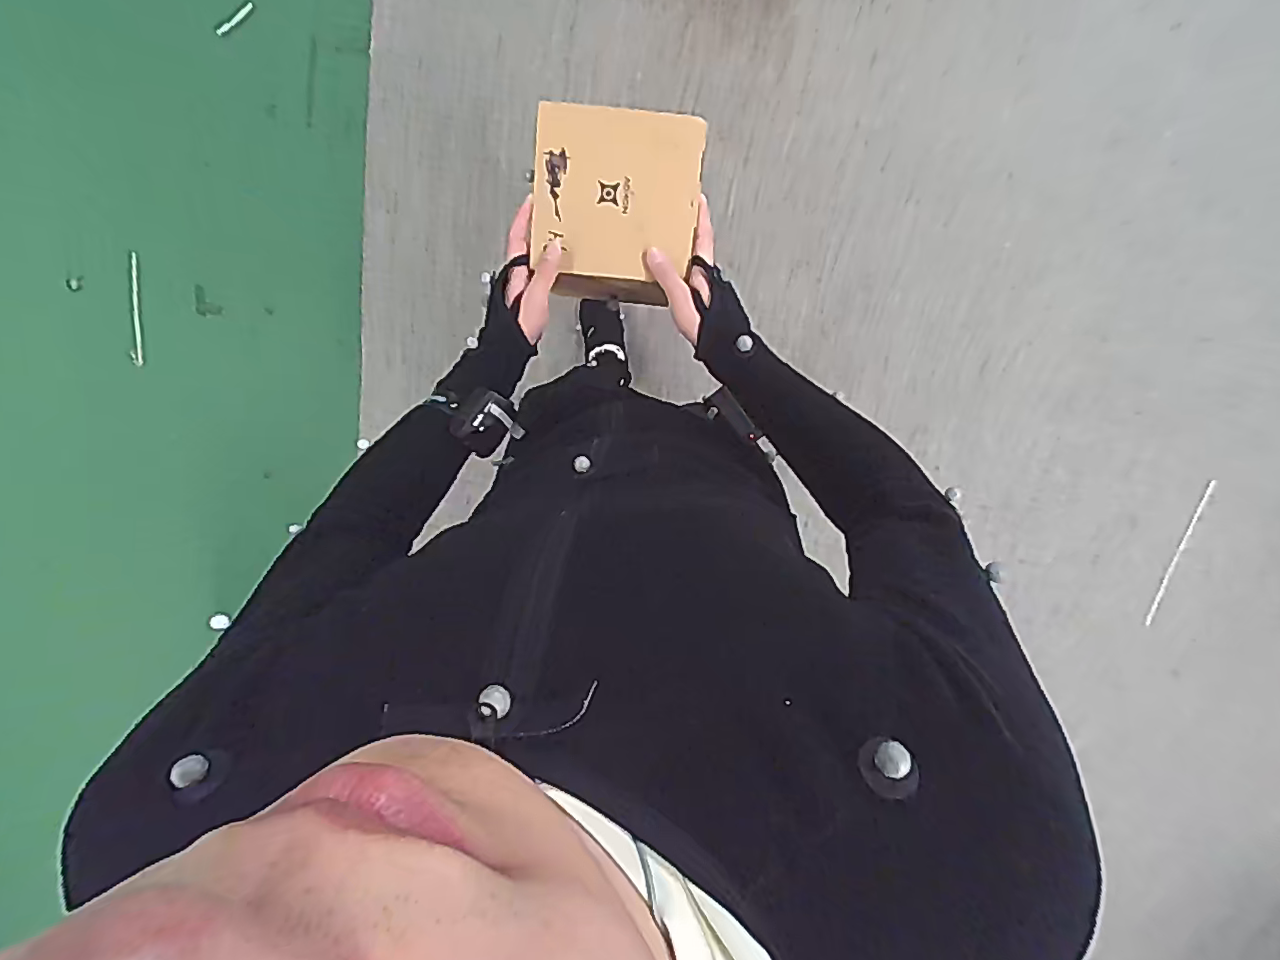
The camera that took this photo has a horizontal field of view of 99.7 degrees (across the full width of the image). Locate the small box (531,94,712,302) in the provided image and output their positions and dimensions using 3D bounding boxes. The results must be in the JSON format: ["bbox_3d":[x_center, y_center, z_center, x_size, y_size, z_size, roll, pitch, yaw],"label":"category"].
[{"bbox_3d":[-0.024,-0.312,0.637,0.179,0.176,0.168,5,99,-3],"label":"small box"}]
